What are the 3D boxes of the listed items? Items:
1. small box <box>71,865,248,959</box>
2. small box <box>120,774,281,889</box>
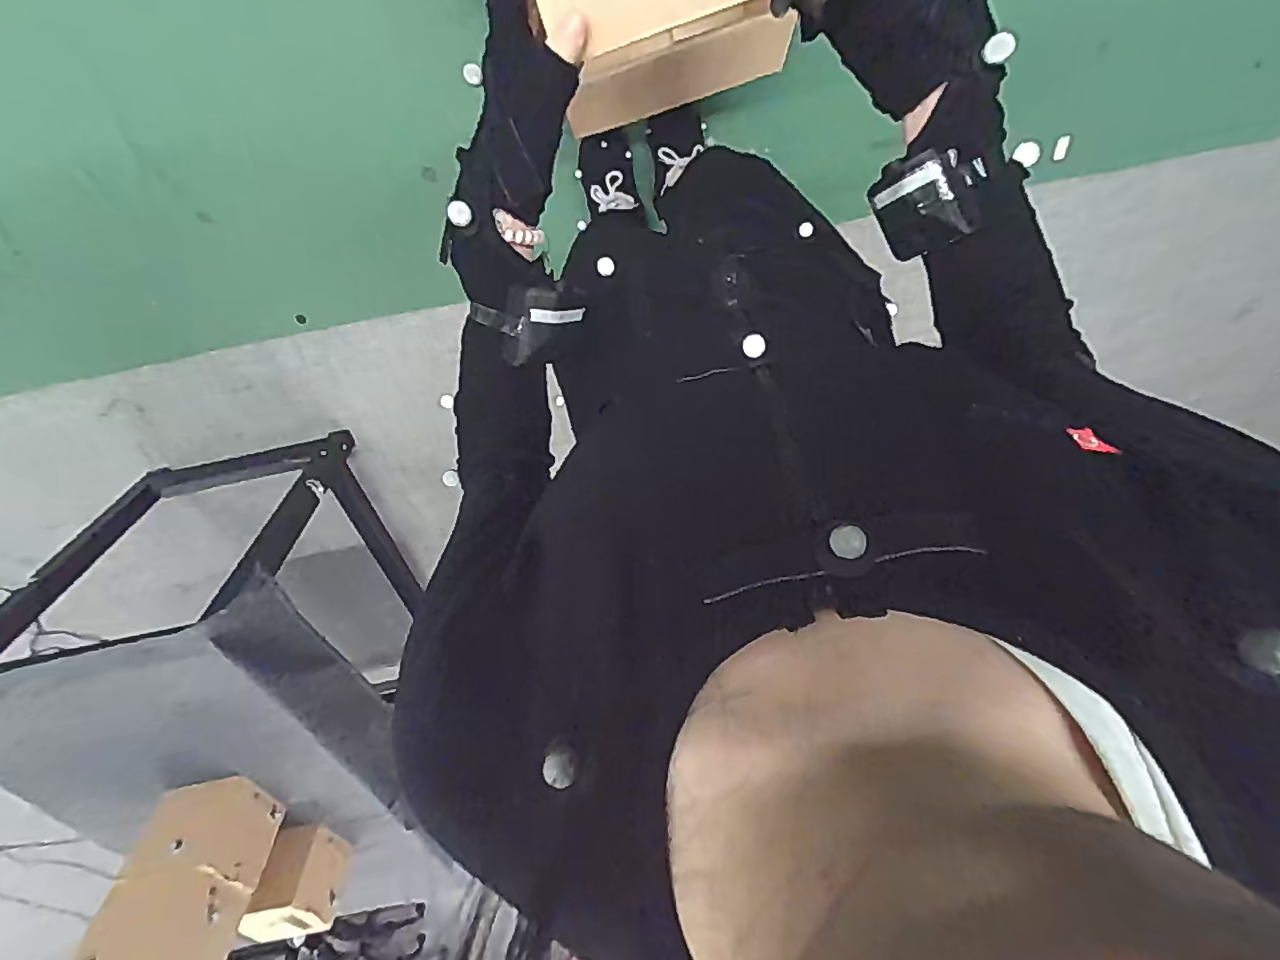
[{"bbox_3d":[-0.886,0.847,0.999,0.179,0.176,0.168,-14,127,2],"label":"small box"},{"bbox_3d":[-0.890,0.739,1.124,0.179,0.176,0.168,-12,126,2],"label":"small box"}]
